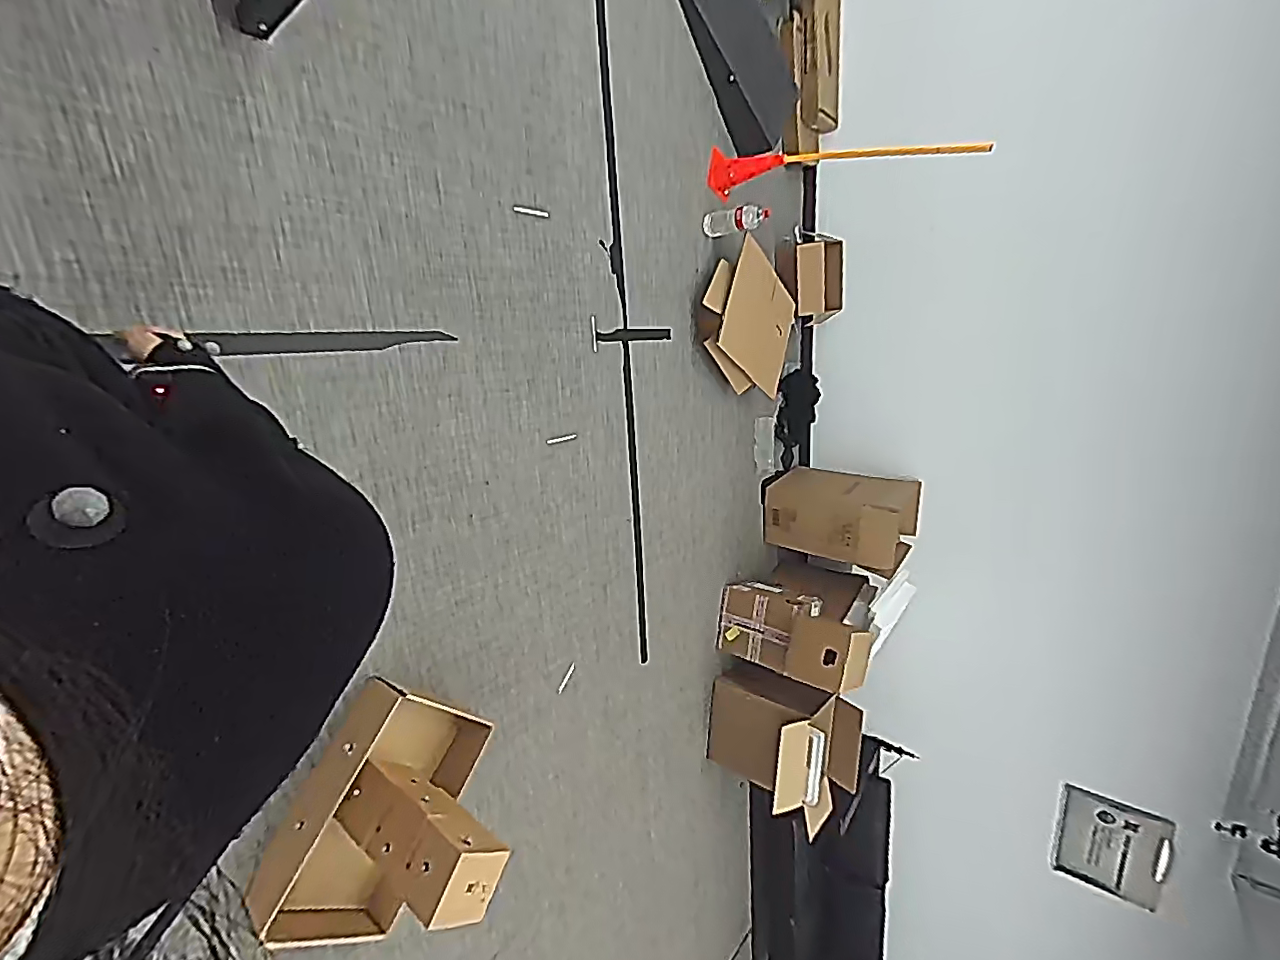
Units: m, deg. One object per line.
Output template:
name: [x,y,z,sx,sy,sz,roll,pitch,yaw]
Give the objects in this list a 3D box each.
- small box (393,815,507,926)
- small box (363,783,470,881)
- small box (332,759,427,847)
small box: [-0.479,0.970,1.358,0.179,0.176,0.168,43,65,-47]
small box: [-0.606,0.945,1.461,0.179,0.176,0.168,45,64,-48]
small box: [-0.736,0.929,1.556,0.179,0.176,0.168,49,59,-45]
